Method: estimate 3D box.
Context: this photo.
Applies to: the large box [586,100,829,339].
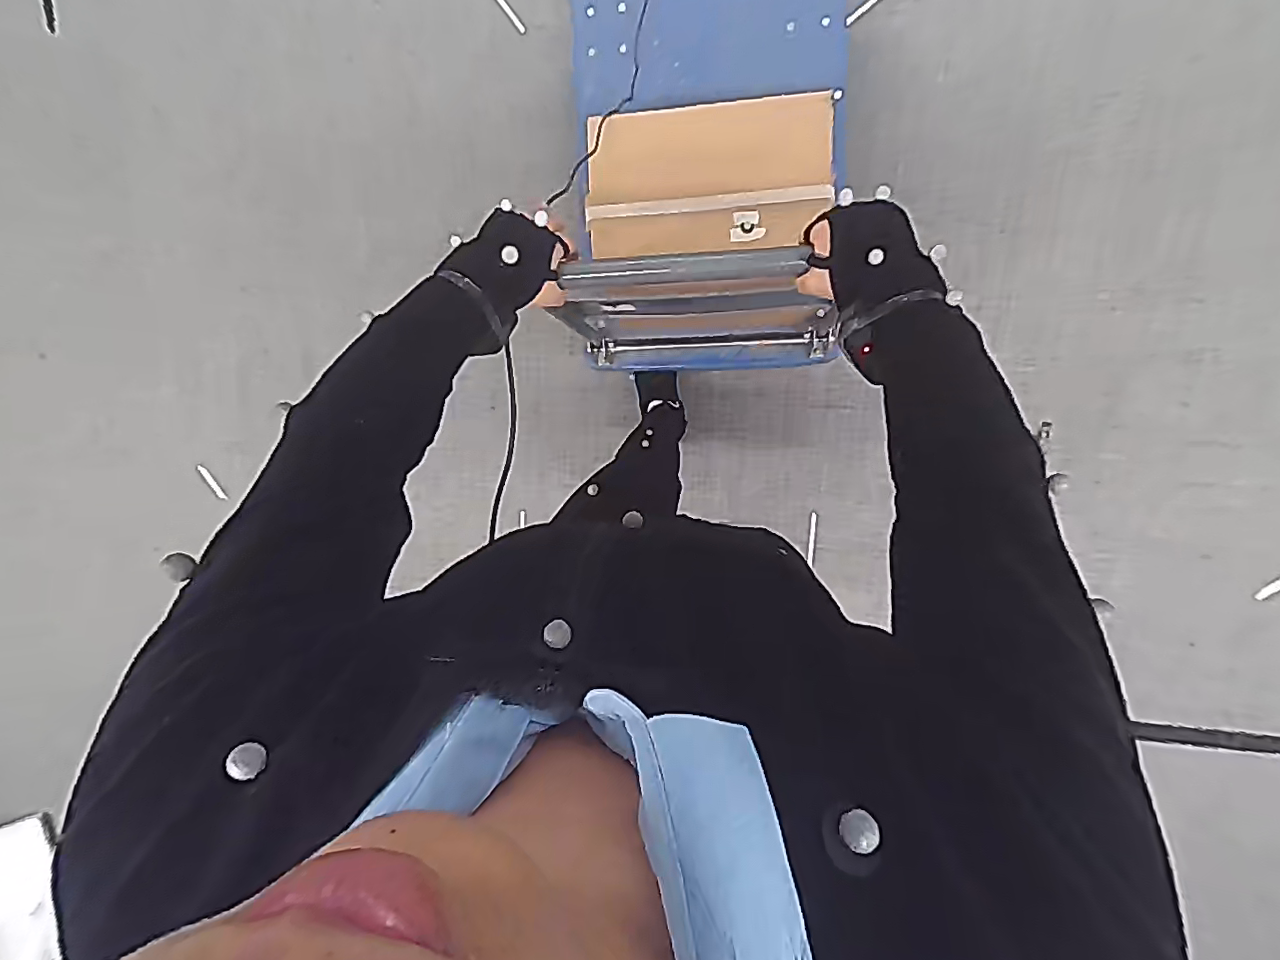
[{"bbox_3d":[0.129,-0.466,1.052,0.408,0.320,0.320,-1,97,8],"label":"large box"}]
